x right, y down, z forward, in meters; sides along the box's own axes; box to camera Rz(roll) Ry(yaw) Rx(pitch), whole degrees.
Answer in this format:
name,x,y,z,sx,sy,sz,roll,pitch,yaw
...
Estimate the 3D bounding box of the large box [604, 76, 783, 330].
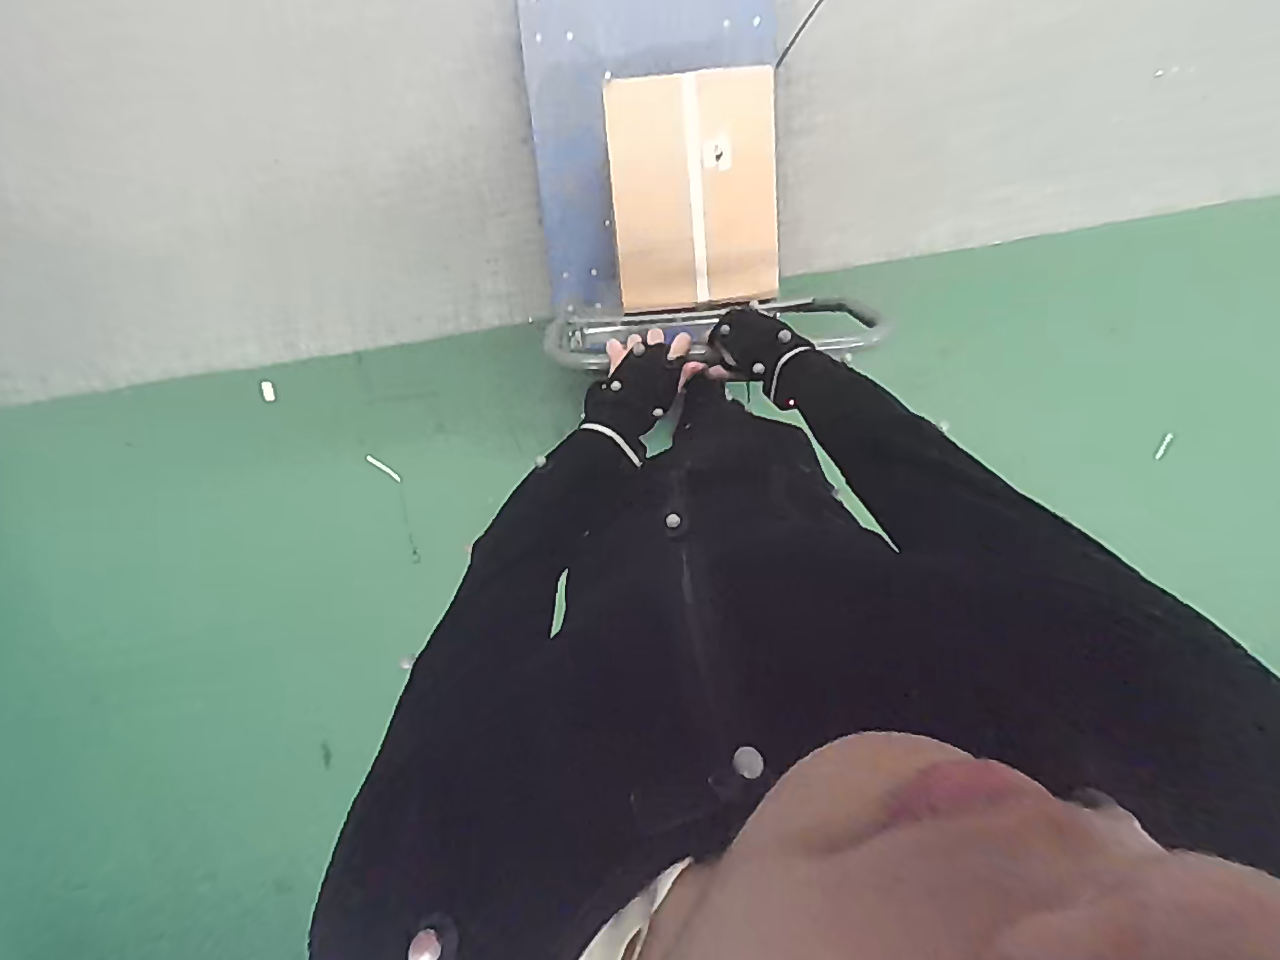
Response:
name,x,y,z,sx,sy,sz,roll,pitch,yaw
large box,0.103,-0.554,1.164,0.320,0.320,0.408,-6,102,-2
